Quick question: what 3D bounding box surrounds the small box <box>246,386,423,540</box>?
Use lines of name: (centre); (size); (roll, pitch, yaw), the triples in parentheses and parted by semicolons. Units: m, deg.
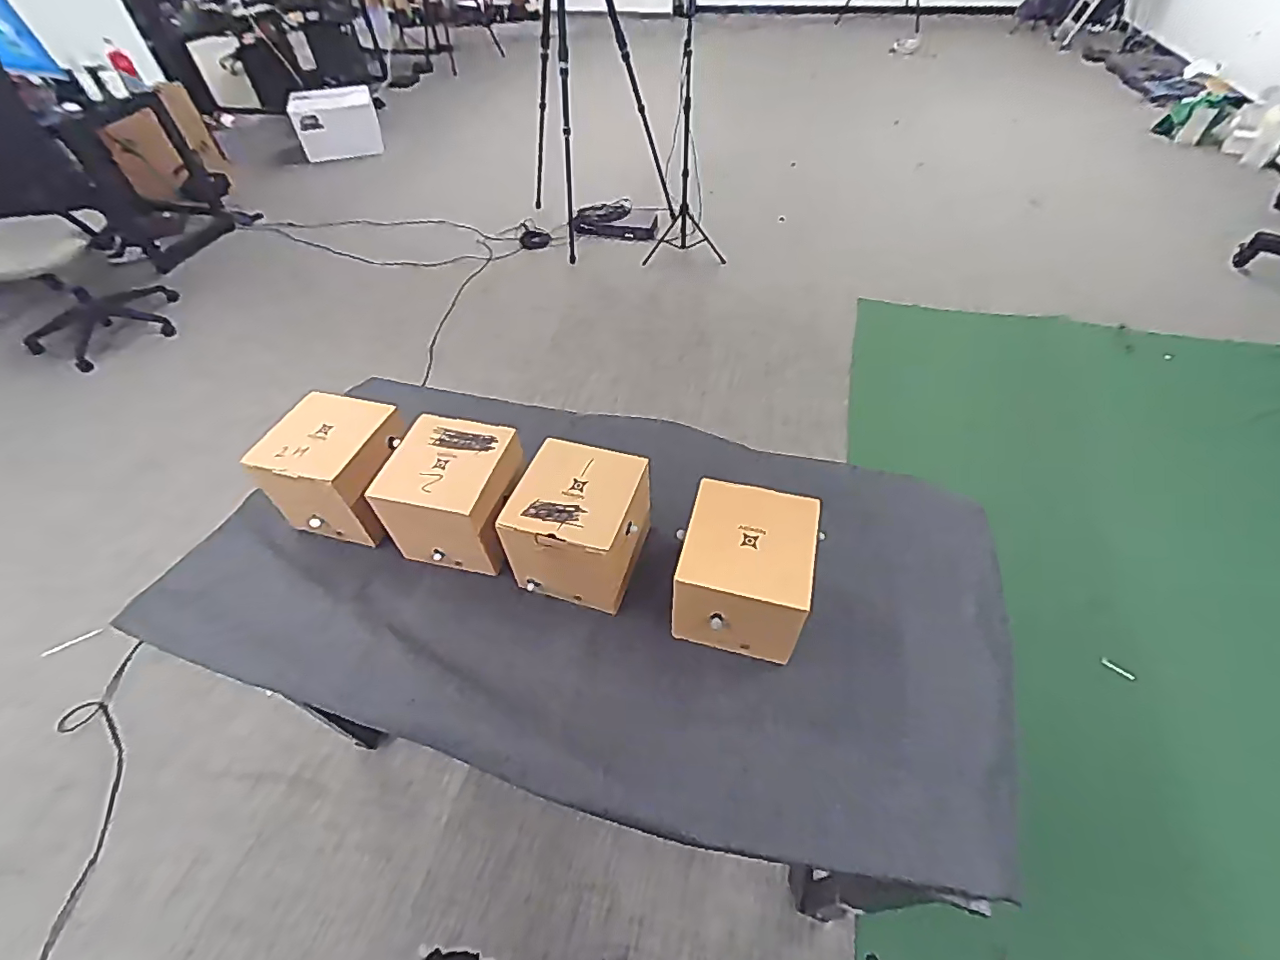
small box: (-0.491, -0.028, 0.908); (0.168, 0.176, 0.179); (11, 51, 11)

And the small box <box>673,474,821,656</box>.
small box: (0.147, 0.122, 0.757); (0.168, 0.176, 0.179); (11, 51, 12)
